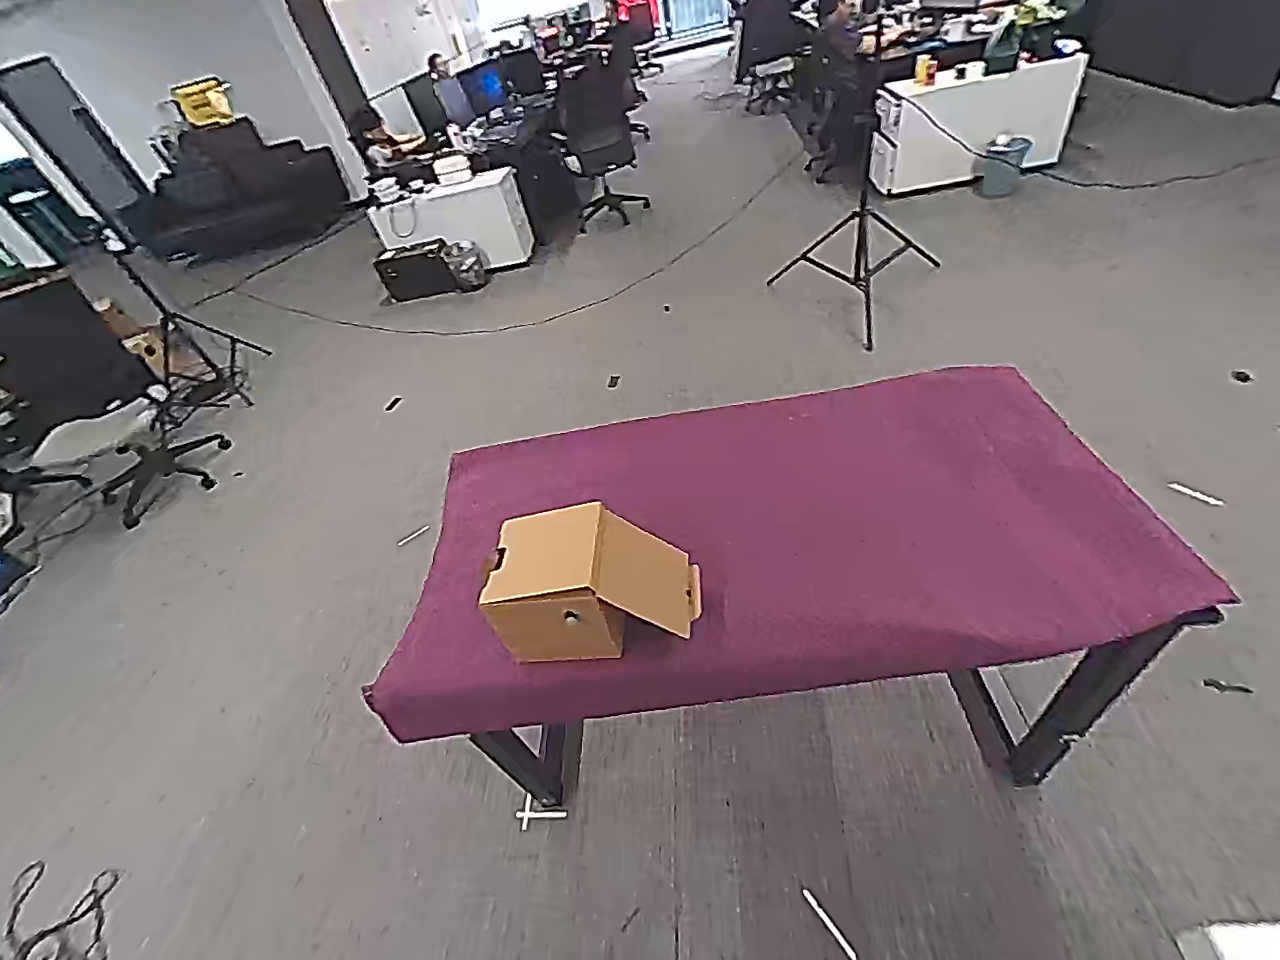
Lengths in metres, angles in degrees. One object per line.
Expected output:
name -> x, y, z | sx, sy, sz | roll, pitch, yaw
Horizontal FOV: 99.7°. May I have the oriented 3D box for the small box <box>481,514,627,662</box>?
small box -> -0.124, 0.176, 0.868 | 0.179, 0.176, 0.168 | -7, 41, 10
